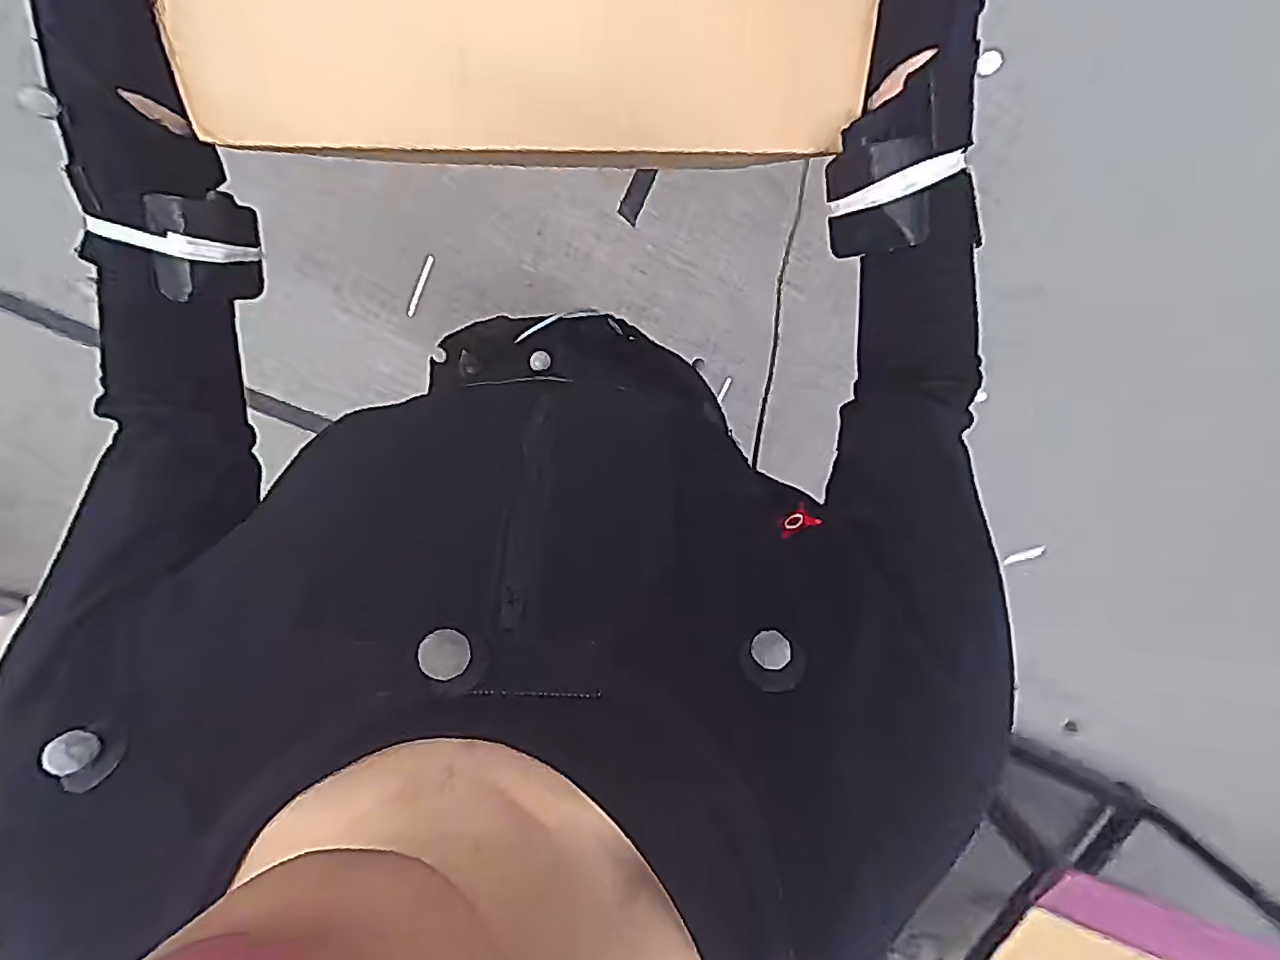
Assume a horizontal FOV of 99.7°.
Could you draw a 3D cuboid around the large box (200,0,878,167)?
[{"bbox_3d":[-0.061,-0.422,0.409,0.408,0.320,0.320,0,120,-3],"label":"large box"}]
